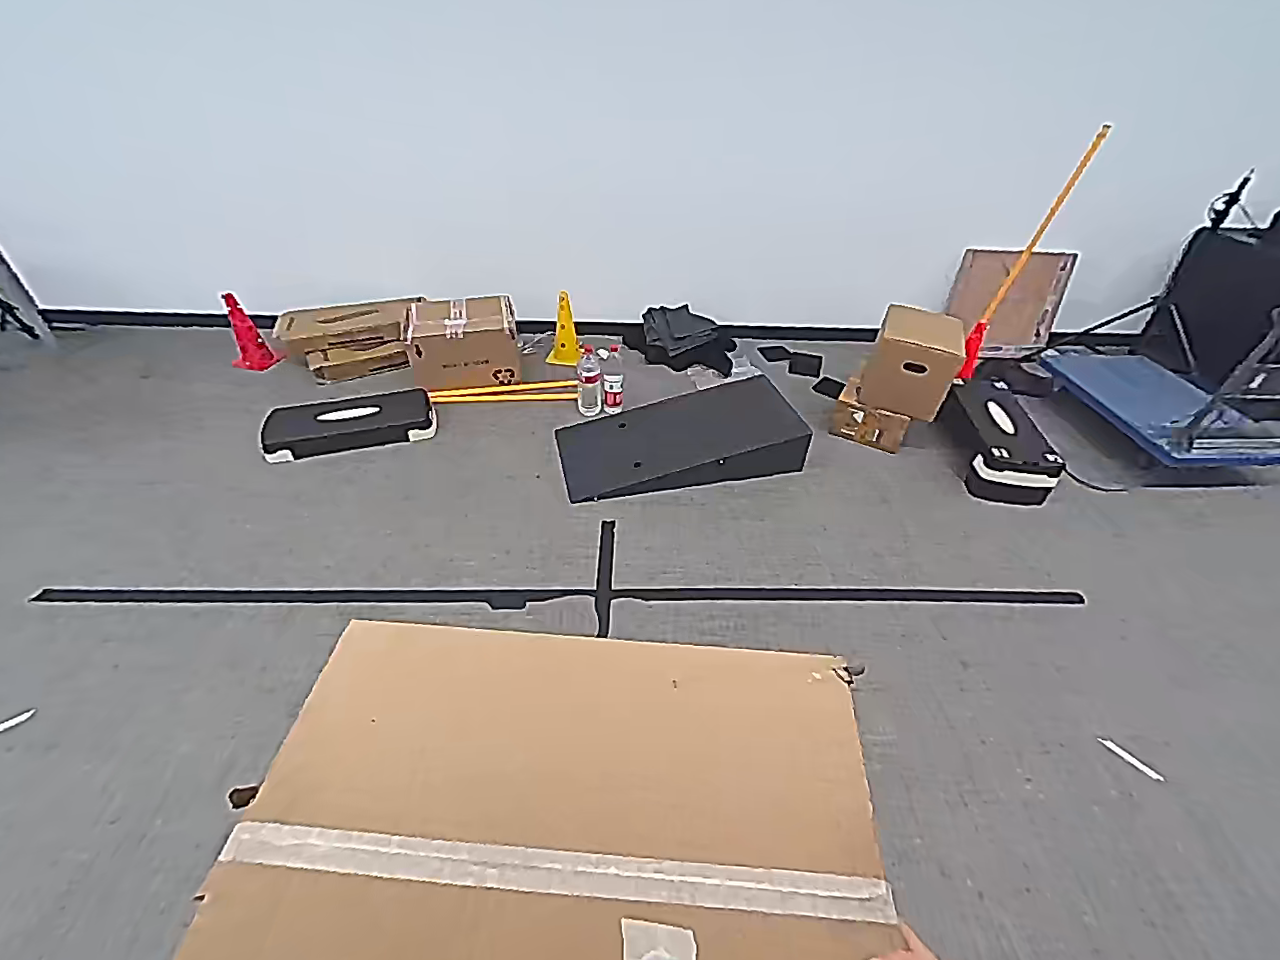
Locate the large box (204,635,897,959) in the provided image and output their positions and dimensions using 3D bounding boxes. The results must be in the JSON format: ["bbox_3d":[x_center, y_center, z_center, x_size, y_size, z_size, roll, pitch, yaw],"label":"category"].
[{"bbox_3d":[-0.050,0.352,0.443,0.408,0.320,0.320,4,46,2],"label":"large box"}]
